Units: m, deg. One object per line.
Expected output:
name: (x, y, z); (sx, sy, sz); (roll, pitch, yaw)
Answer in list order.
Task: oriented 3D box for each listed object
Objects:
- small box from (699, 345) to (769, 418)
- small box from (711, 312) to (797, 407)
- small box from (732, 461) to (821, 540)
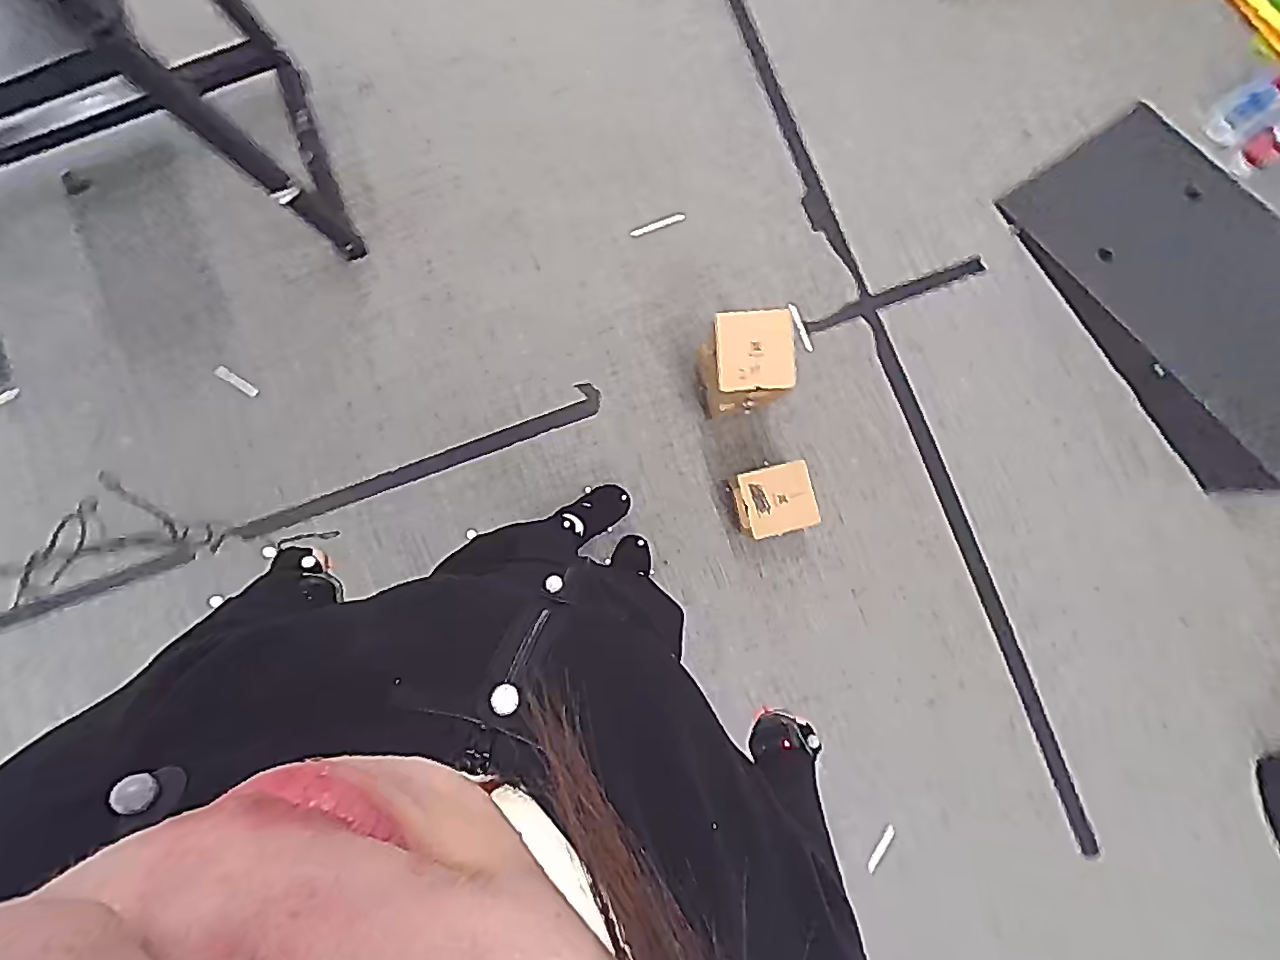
small box: (0.257, -0.266, 1.411); (0.168, 0.176, 0.179); (-15, 89, 1)
small box: (0.256, -0.272, 1.246); (0.168, 0.176, 0.179); (-2, 88, 2)
small box: (0.343, 0.055, 1.403); (0.179, 0.176, 0.168); (-14, 89, 0)
